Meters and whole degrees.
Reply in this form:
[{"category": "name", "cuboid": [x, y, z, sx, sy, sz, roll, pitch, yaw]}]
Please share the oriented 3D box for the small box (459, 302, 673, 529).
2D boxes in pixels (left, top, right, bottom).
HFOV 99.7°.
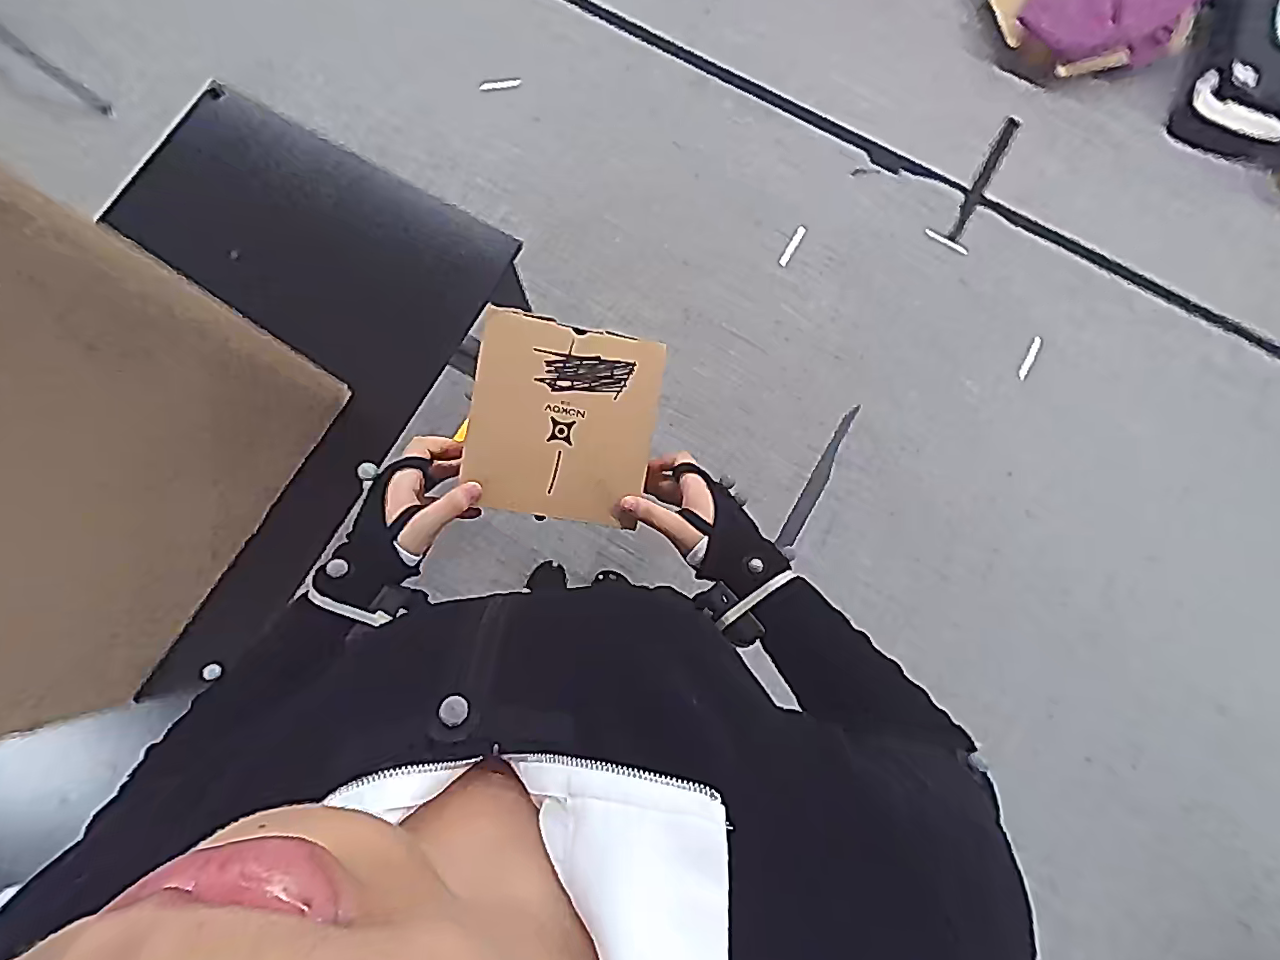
[{"category": "small box", "cuboid": [-0.076, -0.057, 0.558, 0.168, 0.176, 0.179, 11, 91, -9]}]
